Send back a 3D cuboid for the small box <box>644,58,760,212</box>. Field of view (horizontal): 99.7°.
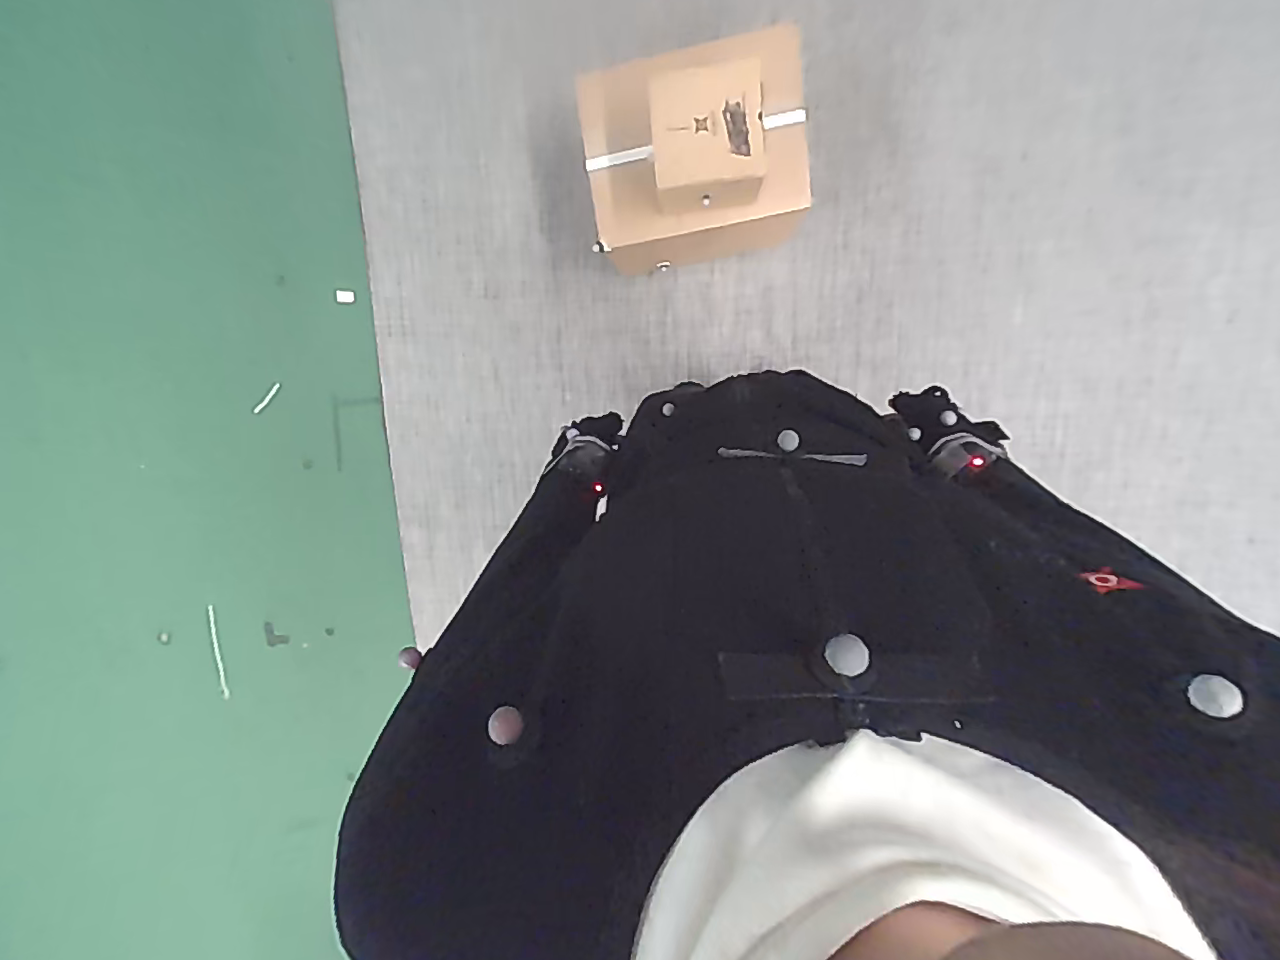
[{"bbox_3d":[0.106,-0.577,0.928,0.179,0.176,0.168,-4,102,8],"label":"small box"}]
